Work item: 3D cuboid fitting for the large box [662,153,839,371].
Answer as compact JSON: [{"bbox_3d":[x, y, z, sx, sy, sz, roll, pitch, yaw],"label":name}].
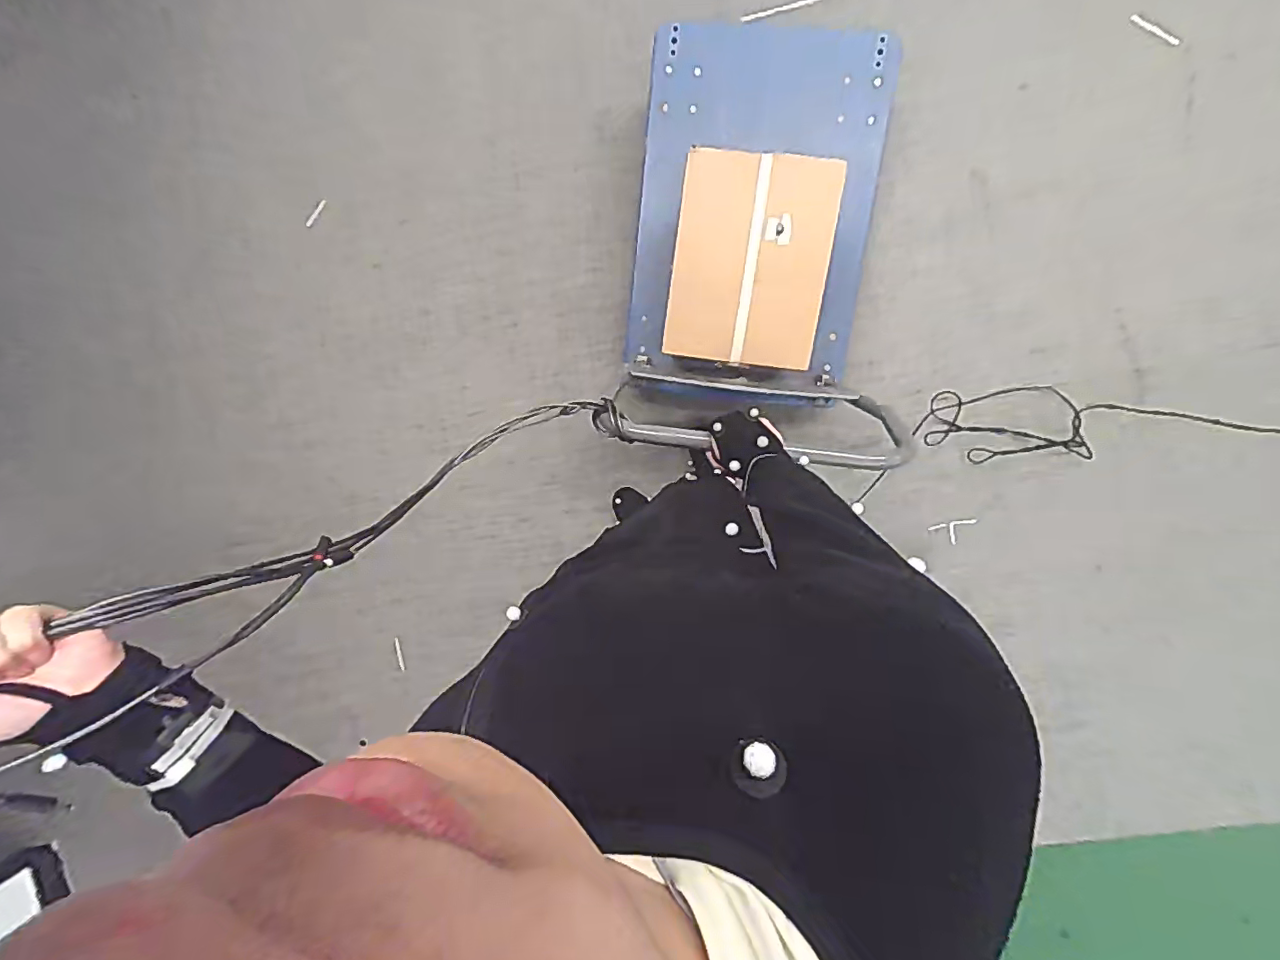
[{"bbox_3d":[0.236,-0.472,1.256,0.320,0.320,0.408,9,102,4],"label":"large box"}]
